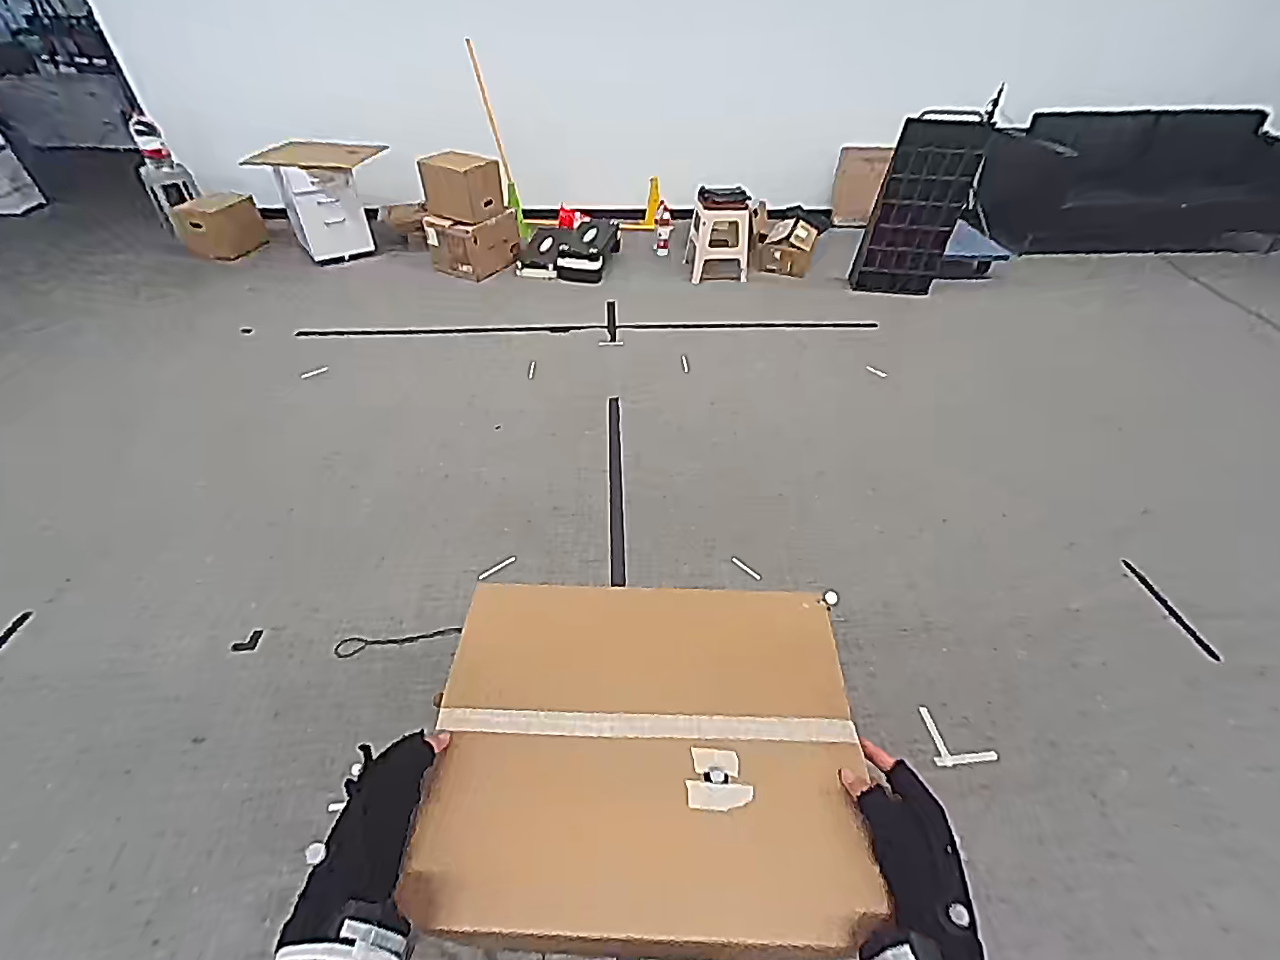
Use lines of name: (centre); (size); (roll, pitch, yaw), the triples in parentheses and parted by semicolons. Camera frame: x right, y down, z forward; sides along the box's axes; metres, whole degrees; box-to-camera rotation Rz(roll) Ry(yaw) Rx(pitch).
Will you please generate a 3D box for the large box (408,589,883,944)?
large box: (0.004, 0.347, 0.653); (0.408, 0.320, 0.320); (1, 47, 1)
